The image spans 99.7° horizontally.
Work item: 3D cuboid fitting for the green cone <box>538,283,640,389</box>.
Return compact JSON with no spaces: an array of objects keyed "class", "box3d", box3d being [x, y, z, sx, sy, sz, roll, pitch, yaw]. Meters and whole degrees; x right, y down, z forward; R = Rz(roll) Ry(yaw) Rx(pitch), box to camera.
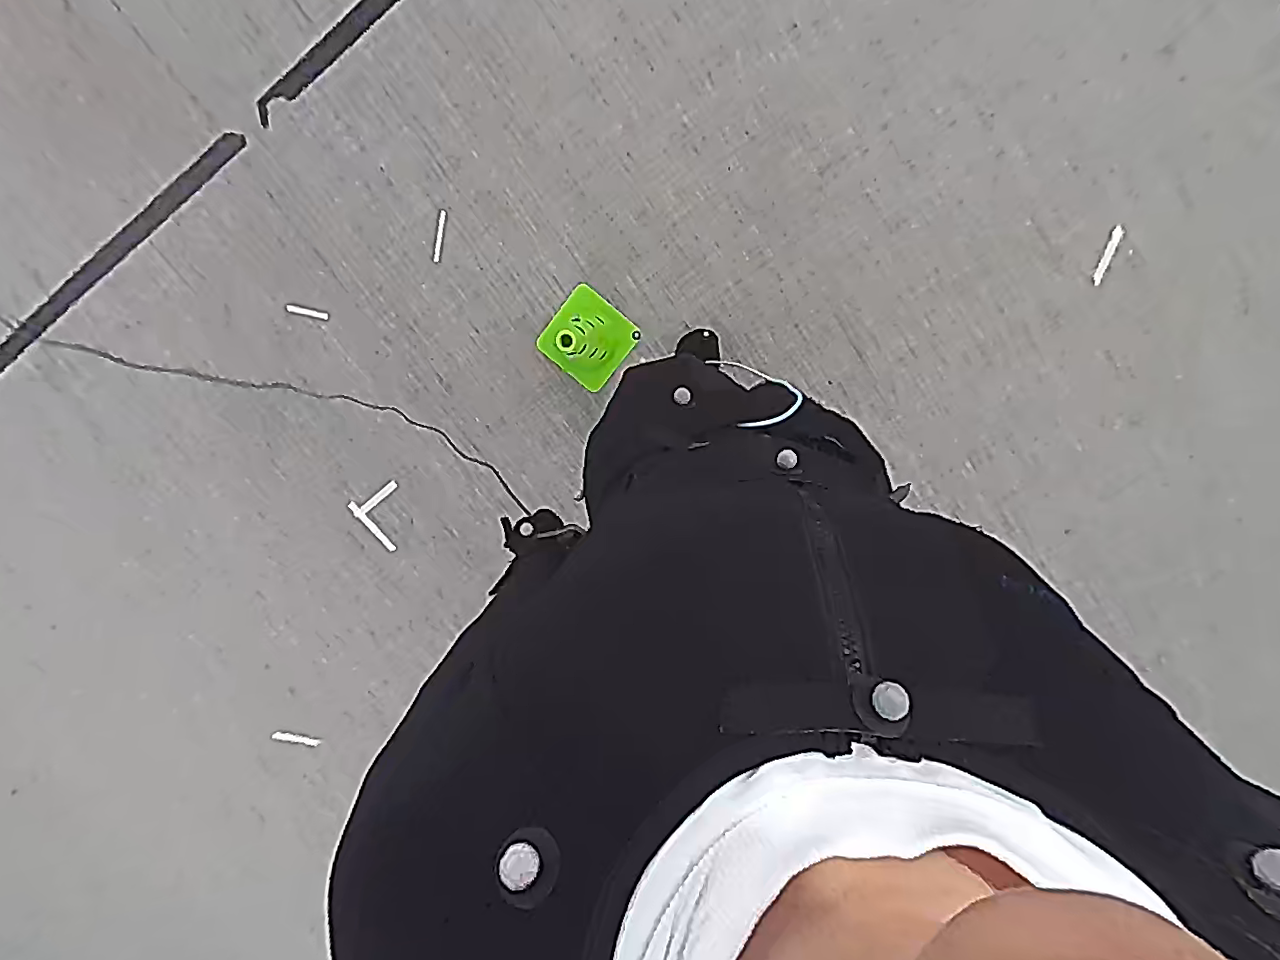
[{"class":"green cone","box3d":[-0.139,-0.311,1.183,0.200,0.368,0.202,38,104,-7]}]
